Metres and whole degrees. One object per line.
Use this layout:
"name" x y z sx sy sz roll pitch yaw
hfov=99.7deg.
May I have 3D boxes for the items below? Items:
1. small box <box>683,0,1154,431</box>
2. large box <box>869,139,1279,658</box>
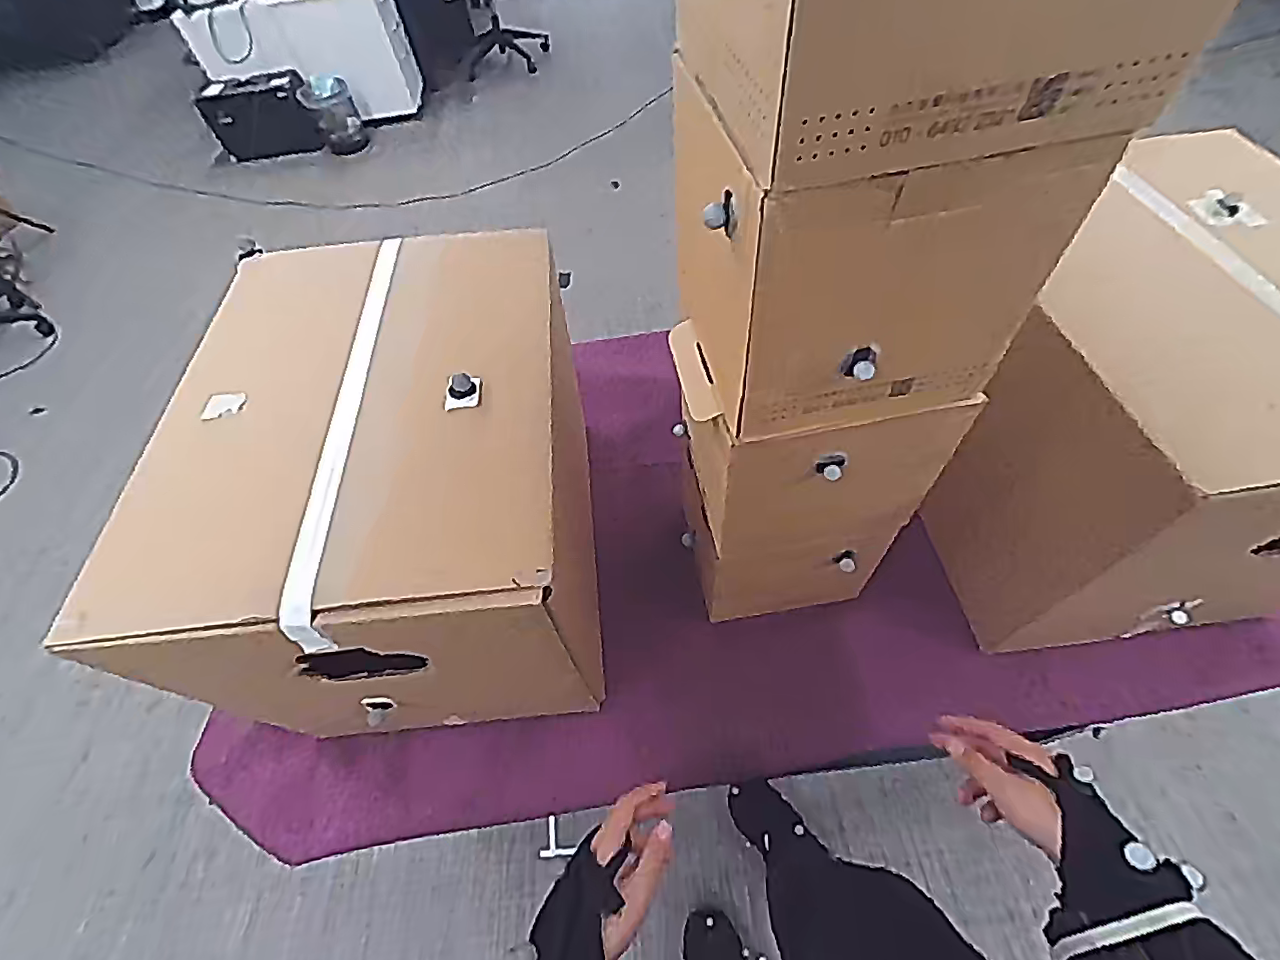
"small box" 0.122 -0.157 0.330 0.168 0.176 0.179 -11 56 -2
"large box" 0.478 -0.079 0.556 0.320 0.320 0.408 -8 54 0
